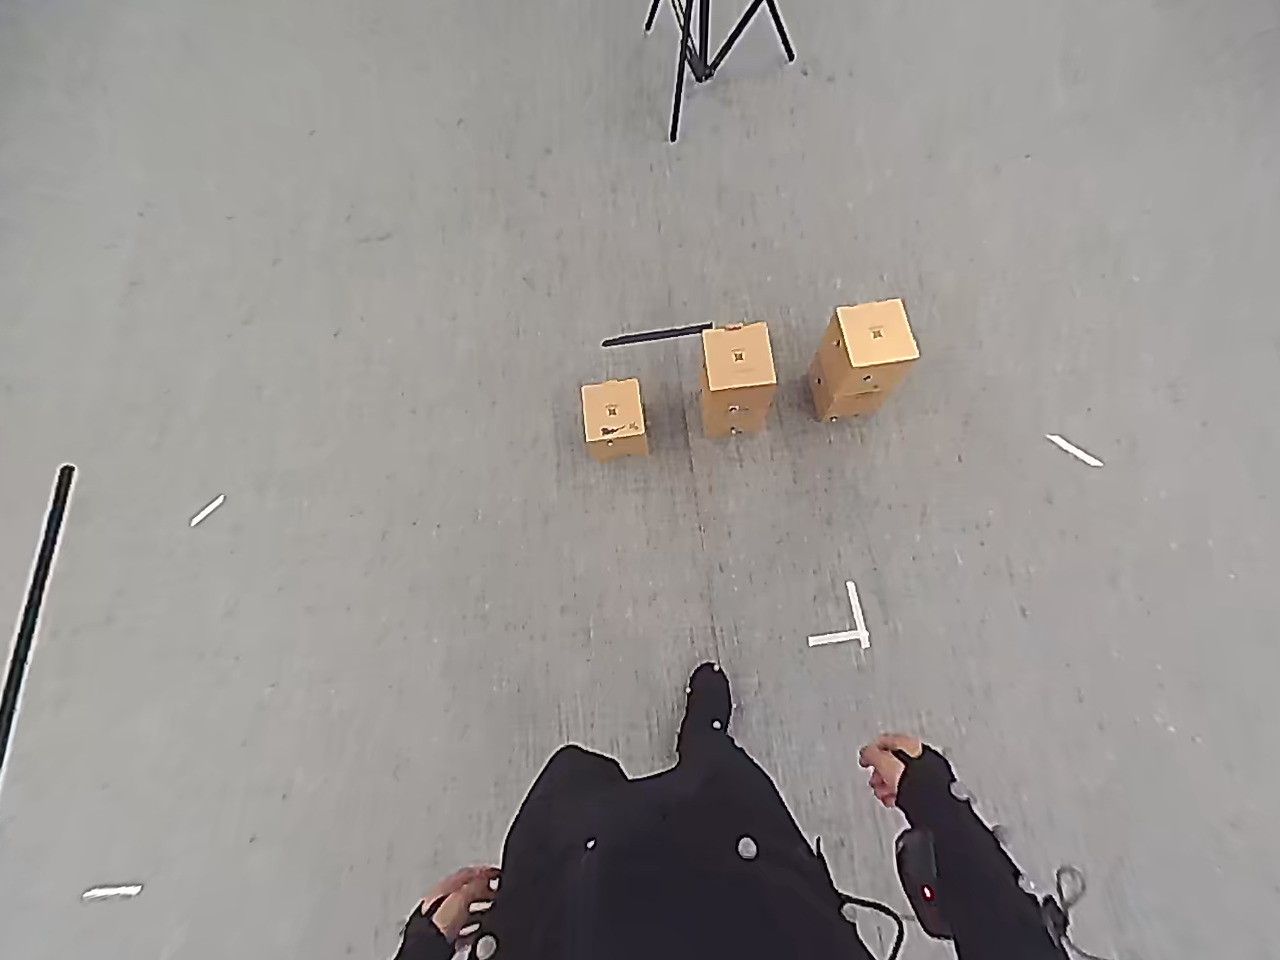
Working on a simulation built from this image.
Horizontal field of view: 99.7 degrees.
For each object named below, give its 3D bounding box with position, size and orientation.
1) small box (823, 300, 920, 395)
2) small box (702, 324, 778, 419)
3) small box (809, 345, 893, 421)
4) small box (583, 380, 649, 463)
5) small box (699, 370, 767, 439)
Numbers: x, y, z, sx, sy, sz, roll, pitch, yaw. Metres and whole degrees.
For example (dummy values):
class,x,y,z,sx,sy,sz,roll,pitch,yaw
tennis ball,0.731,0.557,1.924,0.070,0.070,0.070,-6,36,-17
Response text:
class,x,y,z,sx,sy,sz,roll,pitch,yaw
small box,0.591,-0.333,1.402,0.168,0.176,0.179,-9,71,2
small box,0.252,-0.279,1.410,0.168,0.176,0.179,-6,72,3
small box,0.600,-0.282,1.556,0.168,0.176,0.179,-9,71,2
small box,-0.067,-0.166,1.575,0.168,0.176,0.179,-7,71,3
small box,0.263,-0.235,1.567,0.168,0.176,0.179,-6,72,3
